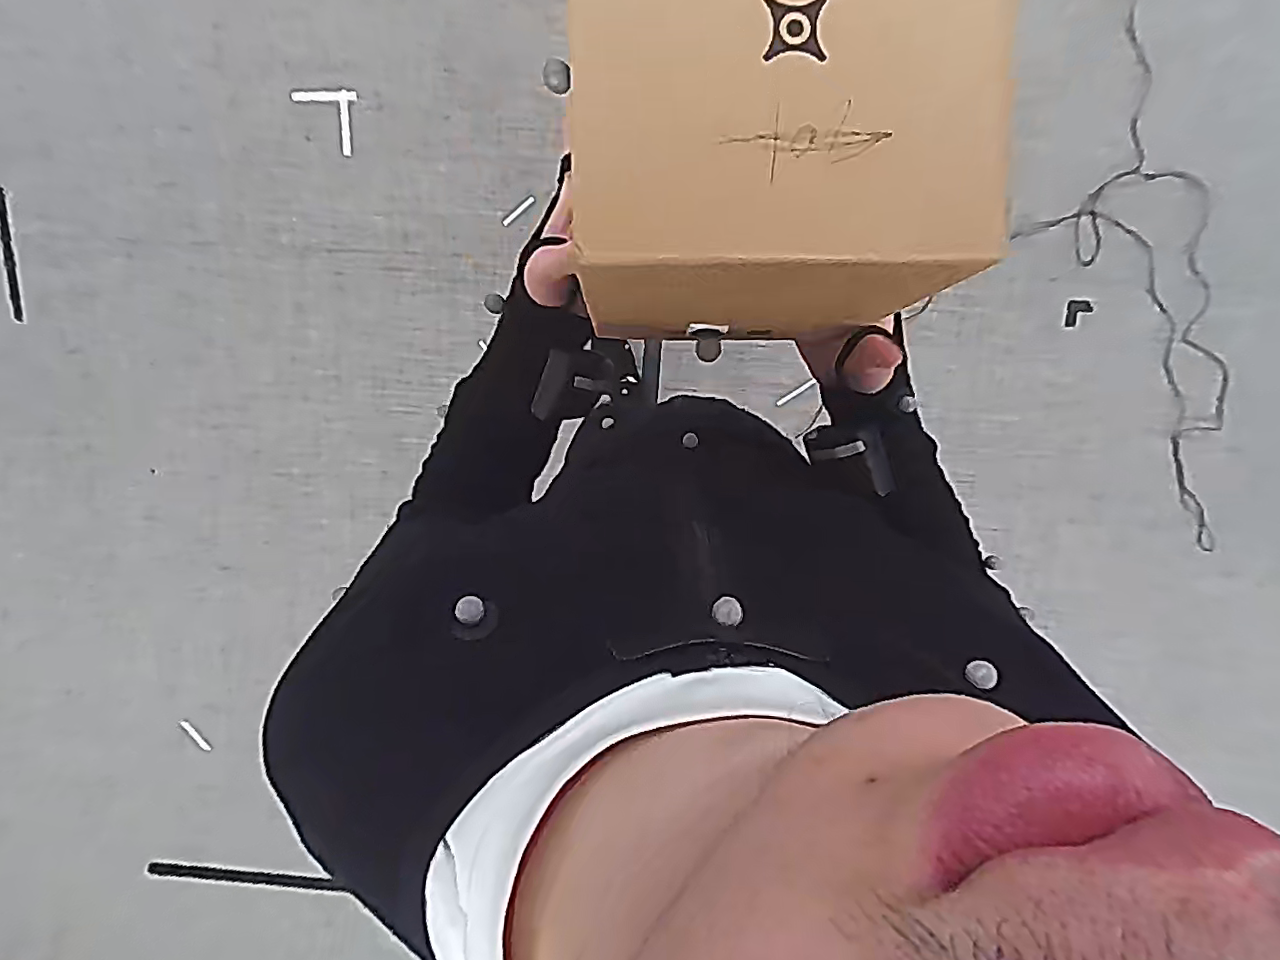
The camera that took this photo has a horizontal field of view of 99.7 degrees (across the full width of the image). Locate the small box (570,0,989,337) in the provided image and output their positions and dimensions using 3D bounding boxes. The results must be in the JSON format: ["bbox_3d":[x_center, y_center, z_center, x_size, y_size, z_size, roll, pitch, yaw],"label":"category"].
[{"bbox_3d":[0.051,-0.181,0.289,0.168,0.176,0.179,-1,95,-1],"label":"small box"}]
